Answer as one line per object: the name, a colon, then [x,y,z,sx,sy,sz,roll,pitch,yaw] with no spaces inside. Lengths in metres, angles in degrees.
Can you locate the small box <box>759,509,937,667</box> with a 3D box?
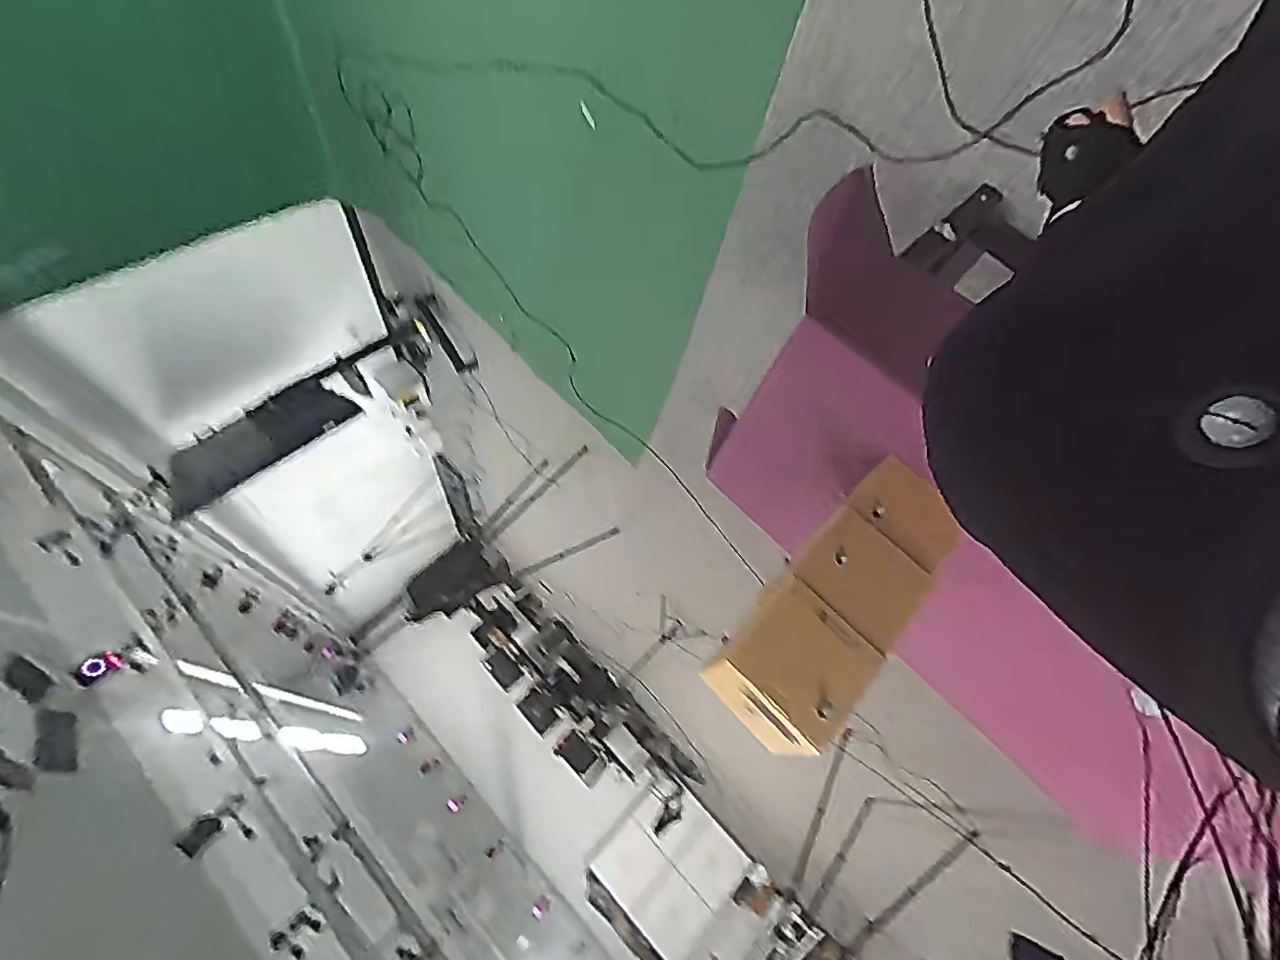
small box: [0.334,0.170,0.883,0.179,0.176,0.168,44,154,13]

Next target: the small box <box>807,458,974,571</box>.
small box: [0.444,0.083,0.969,0.179,0.176,0.168,43,154,15]
